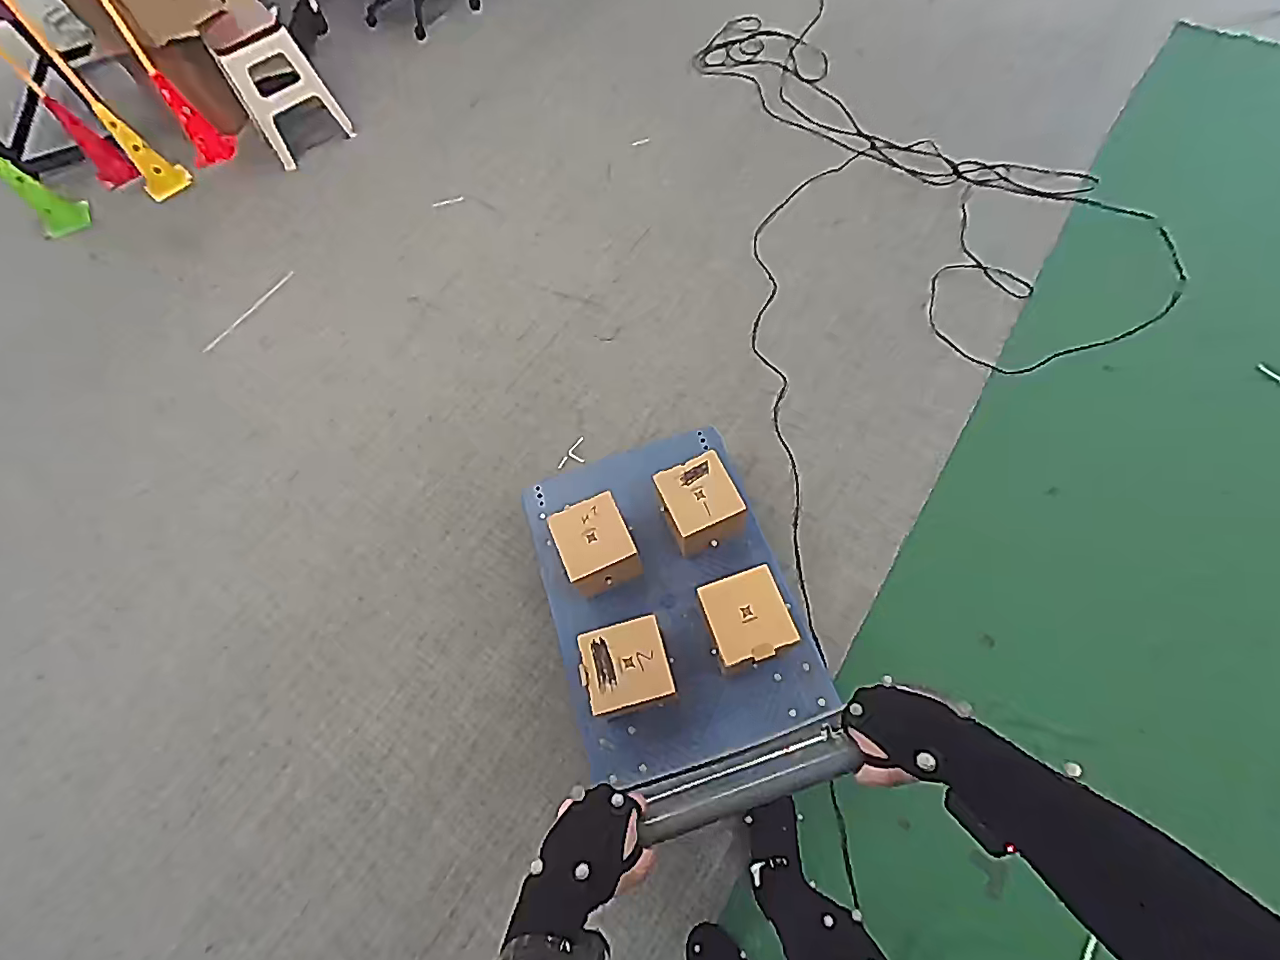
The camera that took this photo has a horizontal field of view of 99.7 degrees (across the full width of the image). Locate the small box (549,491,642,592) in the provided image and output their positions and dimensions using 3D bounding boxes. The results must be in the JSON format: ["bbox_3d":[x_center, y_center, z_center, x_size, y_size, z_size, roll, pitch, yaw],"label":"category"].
[{"bbox_3d":[-0.102,0.160,1.318,0.168,0.176,0.179,-23,64,-6],"label":"small box"}]

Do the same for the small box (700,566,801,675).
[{"bbox_3d":[0.235,0.318,1.209,0.168,0.176,0.179,-18,65,-3],"label":"small box"}]

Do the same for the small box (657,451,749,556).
[{"bbox_3d":[0.151,0.063,1.337,0.168,0.176,0.179,-23,65,-4],"label":"small box"}]
